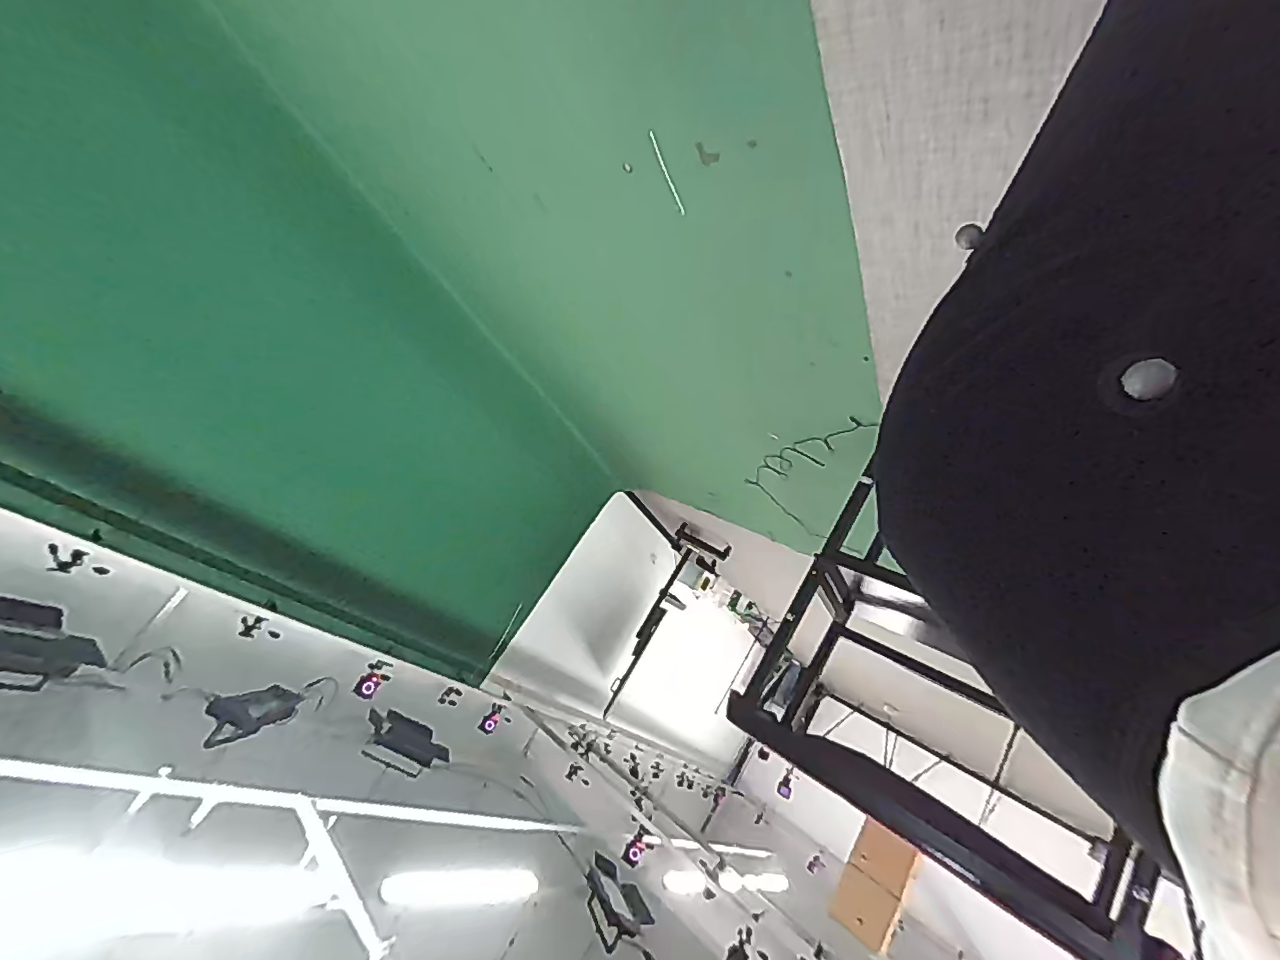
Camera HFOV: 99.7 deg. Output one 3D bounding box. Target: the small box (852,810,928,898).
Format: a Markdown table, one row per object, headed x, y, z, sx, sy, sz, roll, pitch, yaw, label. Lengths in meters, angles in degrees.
| x | y | z | sx | sy | sz | roll | pitch | yaw | label |
| --- | --- | --- | --- | --- | --- | --- | --- | --- | --- |
| 0.825 | 1.218 | 1.770 | 0.179 | 0.176 | 0.168 | 21 | 161 | 41 | small box |

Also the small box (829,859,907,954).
| x | y | z | sx | sy | sz | roll | pitch | yaw | label |
| --- | --- | --- | --- | --- | --- | --- | --- | --- | --- |
| 0.737 | 1.353 | 1.731 | 0.179 | 0.176 | 0.168 | 21 | 161 | 40 | small box |
